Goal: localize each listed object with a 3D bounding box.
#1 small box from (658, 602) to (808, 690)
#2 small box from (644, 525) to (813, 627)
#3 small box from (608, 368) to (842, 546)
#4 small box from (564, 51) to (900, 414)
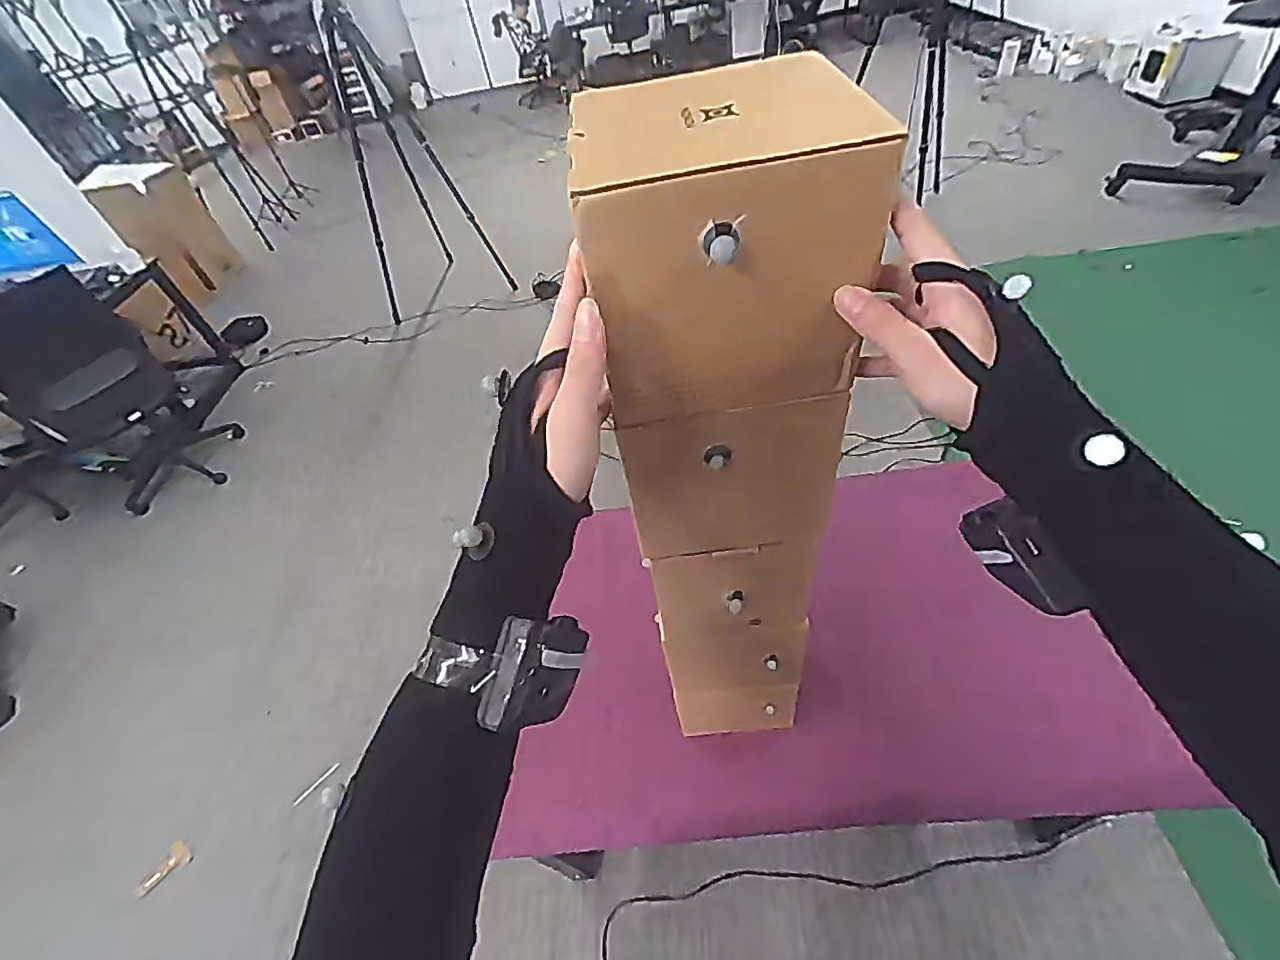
[{"bbox_3d":[0.118,0.172,0.742,0.179,0.176,0.168,-7,46,5],"label":"small box"},{"bbox_3d":[0.094,0.057,0.630,0.168,0.176,0.179,-8,47,4],"label":"small box"},{"bbox_3d":[0.071,-0.053,0.508,0.179,0.176,0.168,-7,46,3],"label":"small box"},{"bbox_3d":[0.052,-0.168,0.387,0.179,0.176,0.168,-8,49,4],"label":"small box"}]
